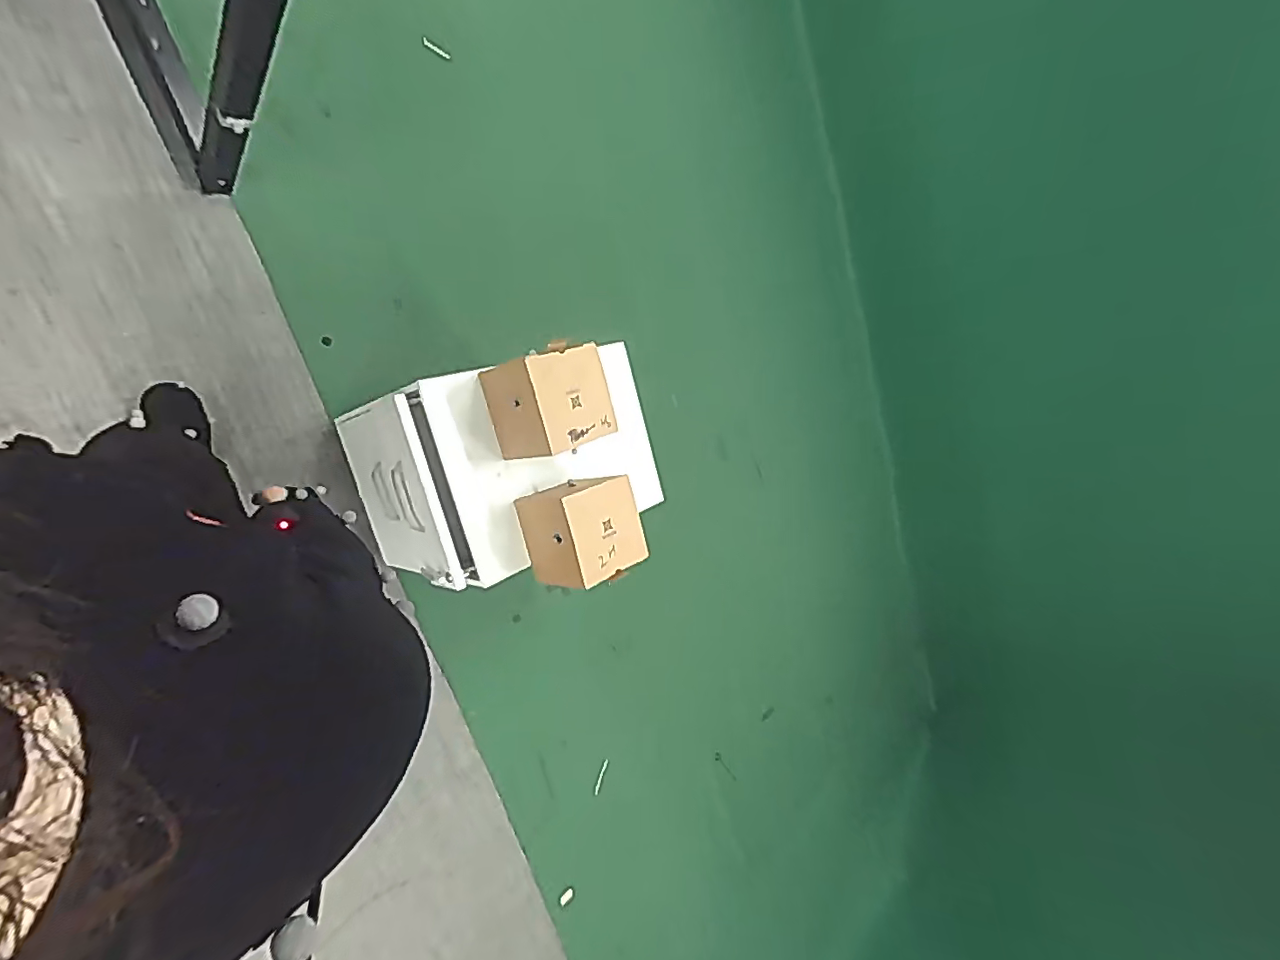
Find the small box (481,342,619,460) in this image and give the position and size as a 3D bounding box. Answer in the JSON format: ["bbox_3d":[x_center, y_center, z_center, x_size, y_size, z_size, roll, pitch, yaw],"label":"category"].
[{"bbox_3d":[-0.172,-0.145,1.016,0.168,0.176,0.179,-25,106,-41],"label":"small box"}]

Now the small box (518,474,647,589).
[{"bbox_3d":[-0.115,0.095,1.055,0.168,0.176,0.179,-21,102,-41],"label":"small box"}]
